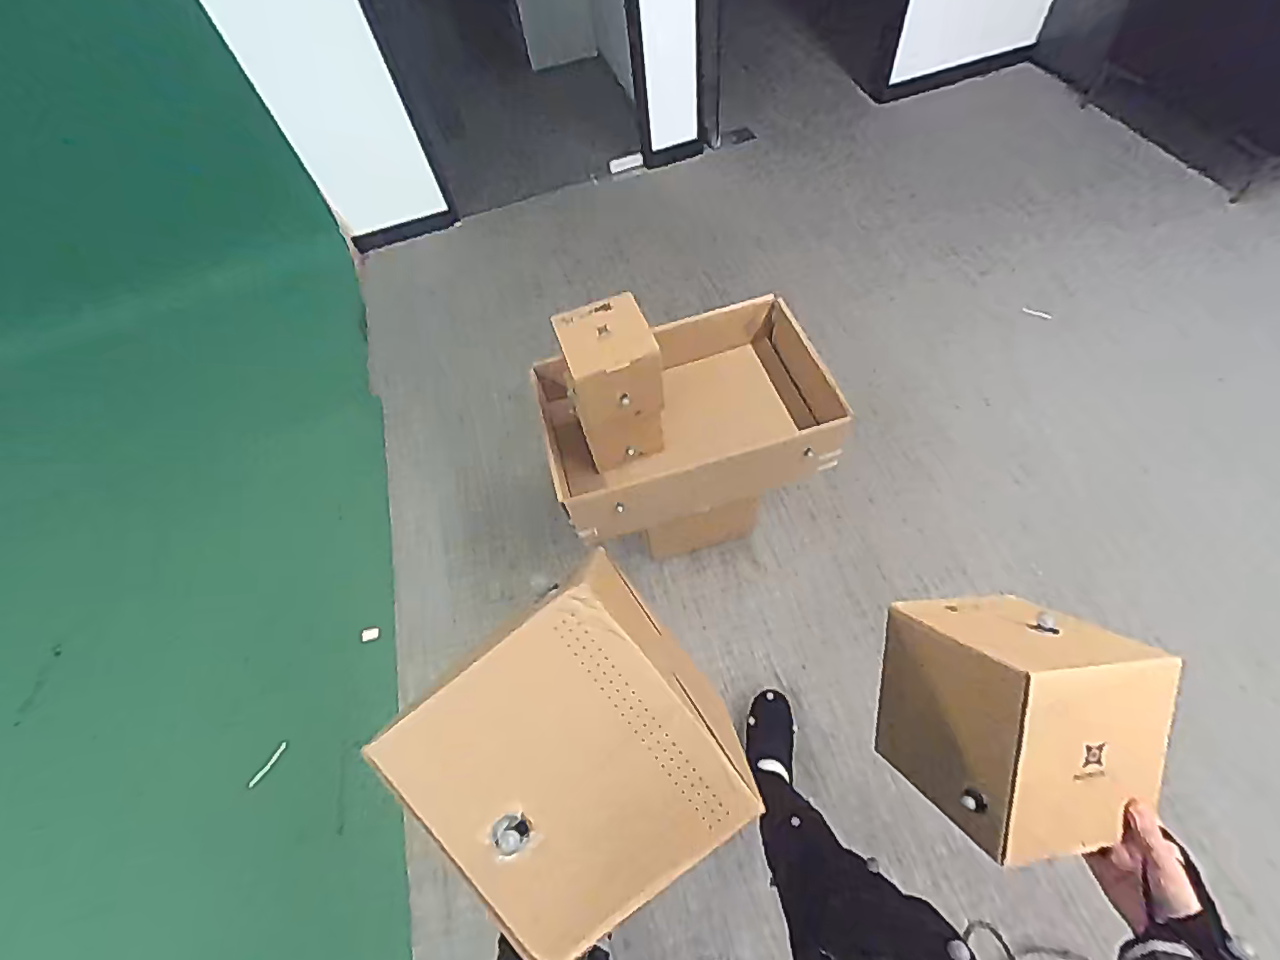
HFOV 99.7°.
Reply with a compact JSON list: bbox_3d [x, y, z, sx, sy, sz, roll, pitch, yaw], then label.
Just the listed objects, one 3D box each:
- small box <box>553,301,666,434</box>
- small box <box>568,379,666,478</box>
[{"bbox_3d":[-0.055,-0.210,1.061,0.168,0.176,0.179,-19,59,-4],"label":"small box"},{"bbox_3d":[-0.048,-0.135,1.208,0.168,0.176,0.179,-20,59,-4],"label":"small box"}]
